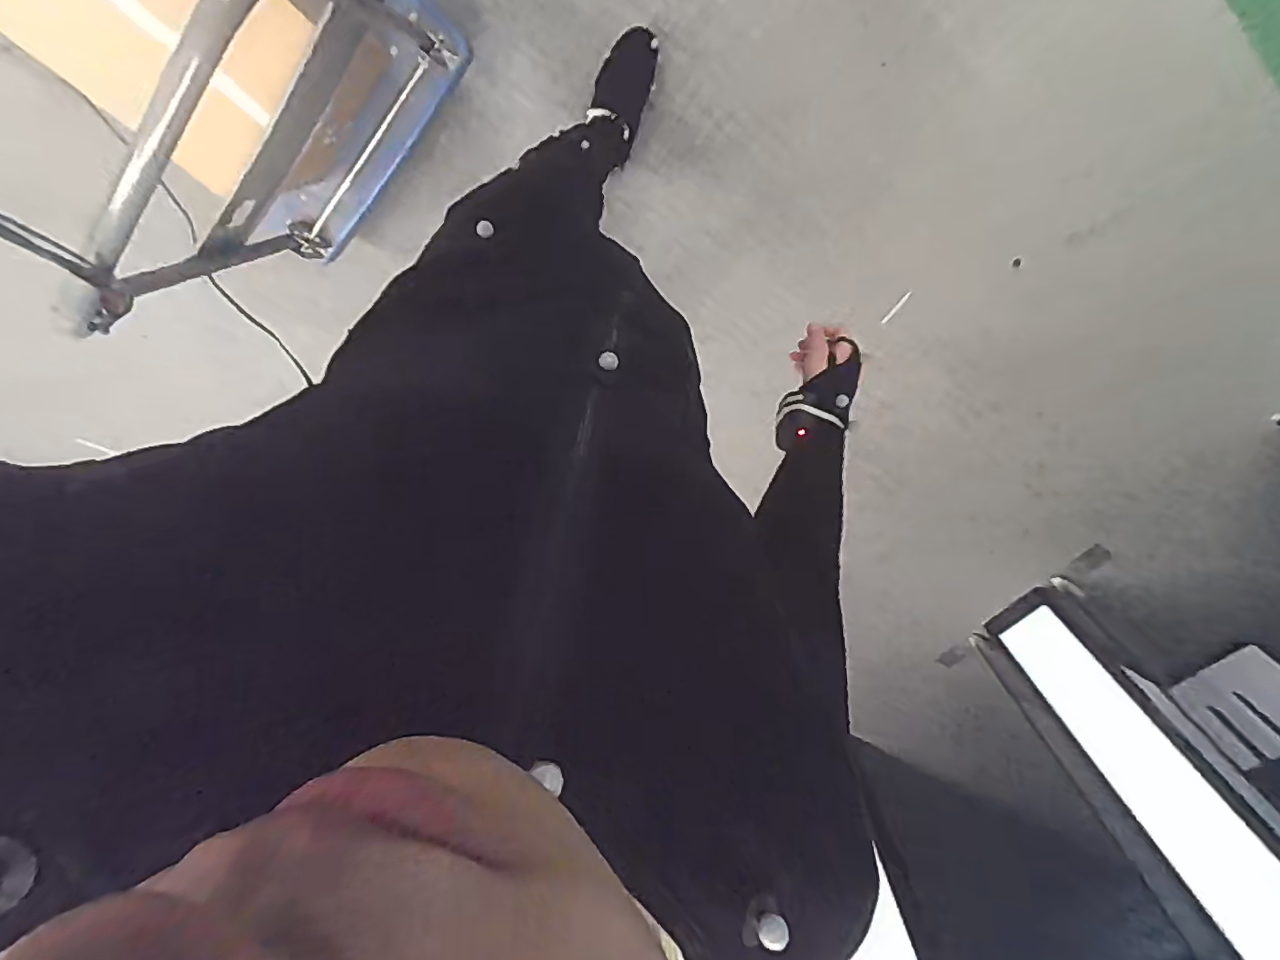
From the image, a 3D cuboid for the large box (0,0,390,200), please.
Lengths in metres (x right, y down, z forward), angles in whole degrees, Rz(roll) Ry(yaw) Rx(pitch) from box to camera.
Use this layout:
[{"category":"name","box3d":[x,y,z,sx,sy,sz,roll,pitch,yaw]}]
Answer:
[{"category":"large box","box3d":[-0.701,-0.738,0.867,0.408,0.320,0.320,39,114,-25]}]
